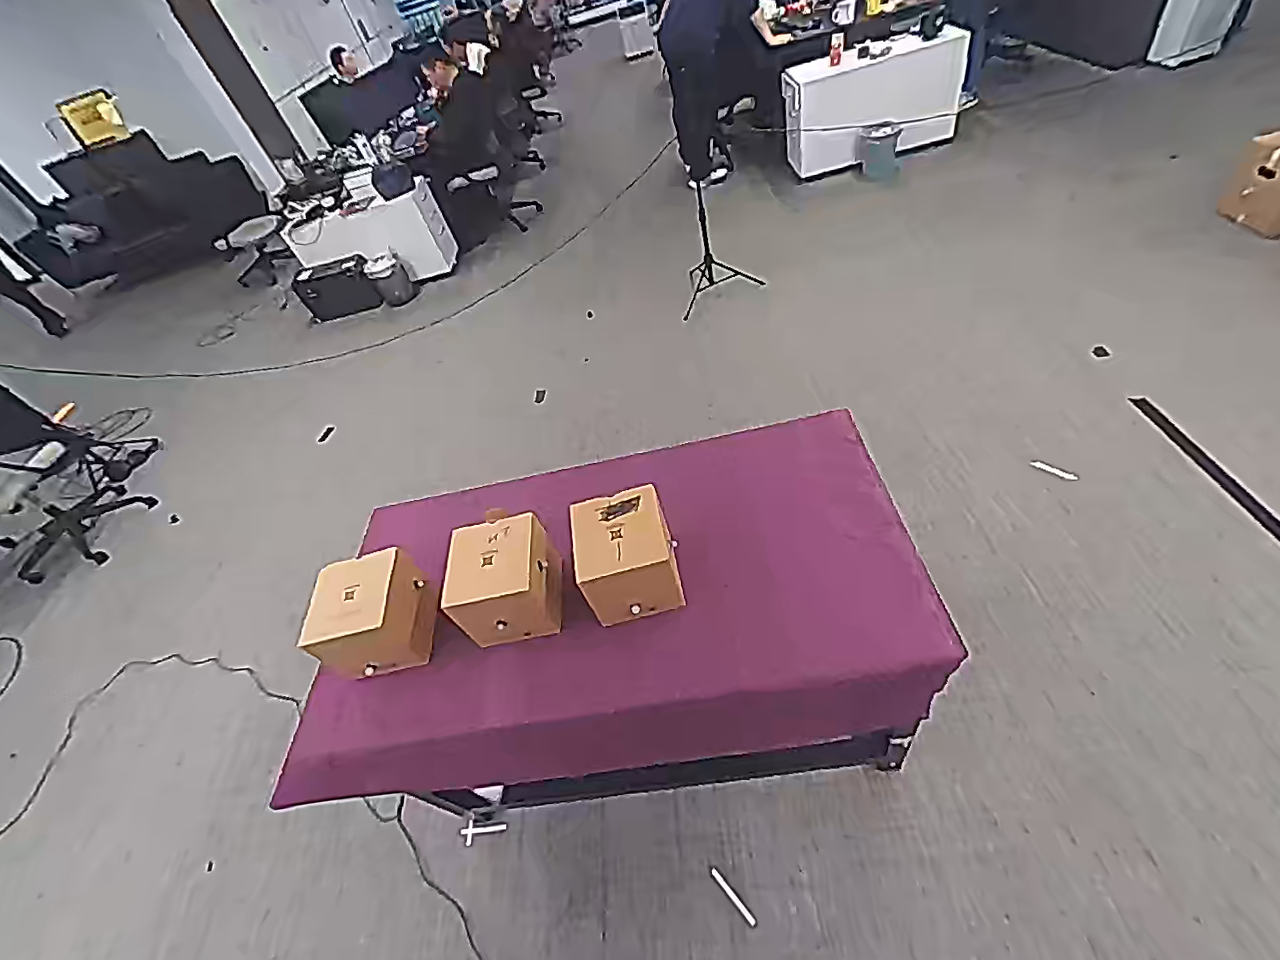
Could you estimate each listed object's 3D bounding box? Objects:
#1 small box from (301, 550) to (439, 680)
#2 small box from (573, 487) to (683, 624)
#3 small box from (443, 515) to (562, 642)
[{"bbox_3d":[-0.522,0.270,1.076,0.168,0.176,0.179,-14,46,5],"label":"small box"},{"bbox_3d":[-0.023,0.146,1.030,0.168,0.176,0.179,-15,47,4],"label":"small box"},{"bbox_3d":[-0.257,0.199,1.056,0.168,0.176,0.179,-13,47,6],"label":"small box"}]
